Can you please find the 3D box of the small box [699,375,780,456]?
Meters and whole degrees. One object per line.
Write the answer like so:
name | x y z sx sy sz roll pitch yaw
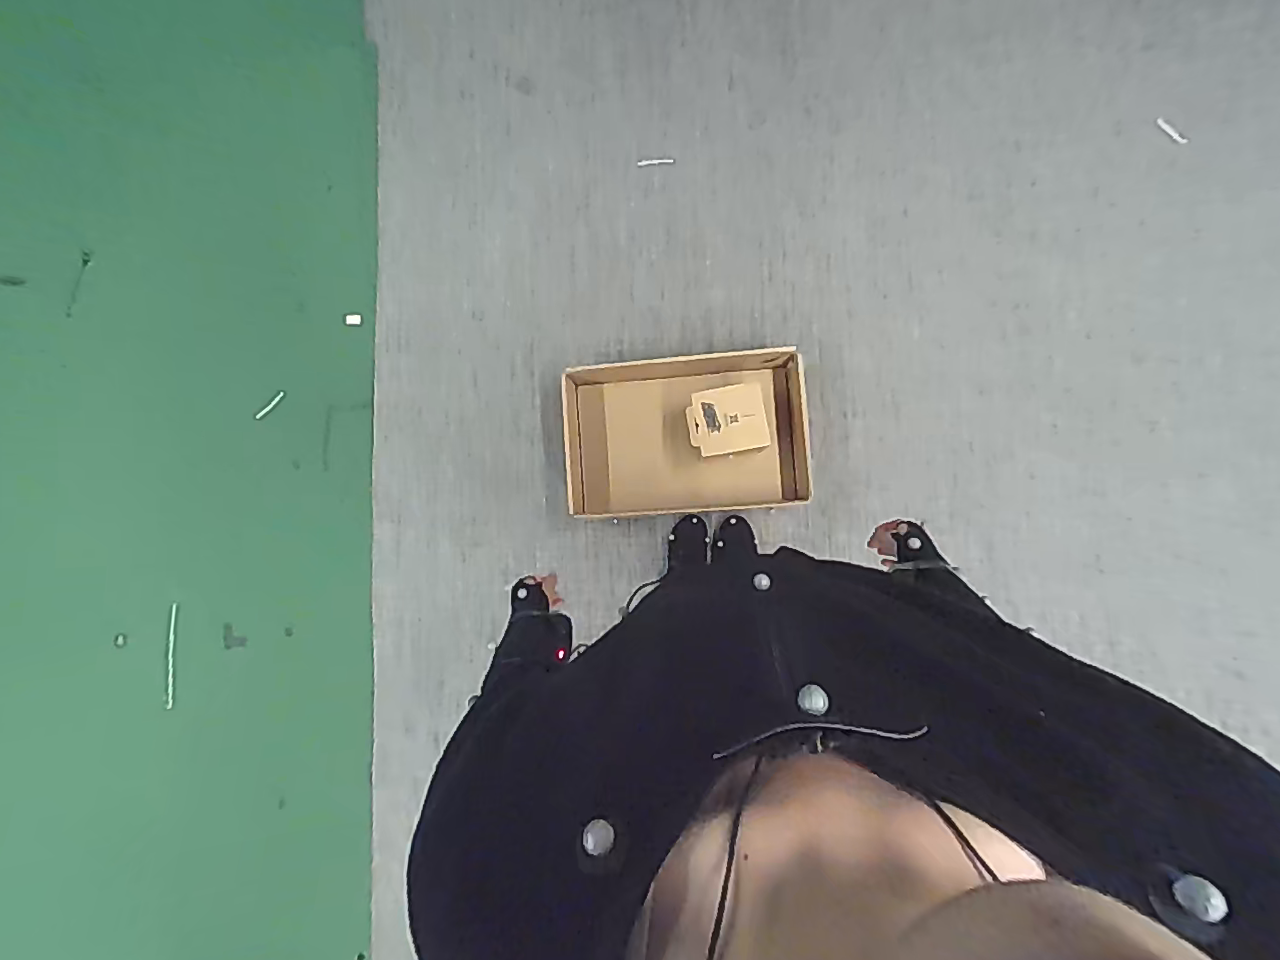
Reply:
small box | 0.254 -0.160 1.406 0.179 0.176 0.168 -10 87 6
